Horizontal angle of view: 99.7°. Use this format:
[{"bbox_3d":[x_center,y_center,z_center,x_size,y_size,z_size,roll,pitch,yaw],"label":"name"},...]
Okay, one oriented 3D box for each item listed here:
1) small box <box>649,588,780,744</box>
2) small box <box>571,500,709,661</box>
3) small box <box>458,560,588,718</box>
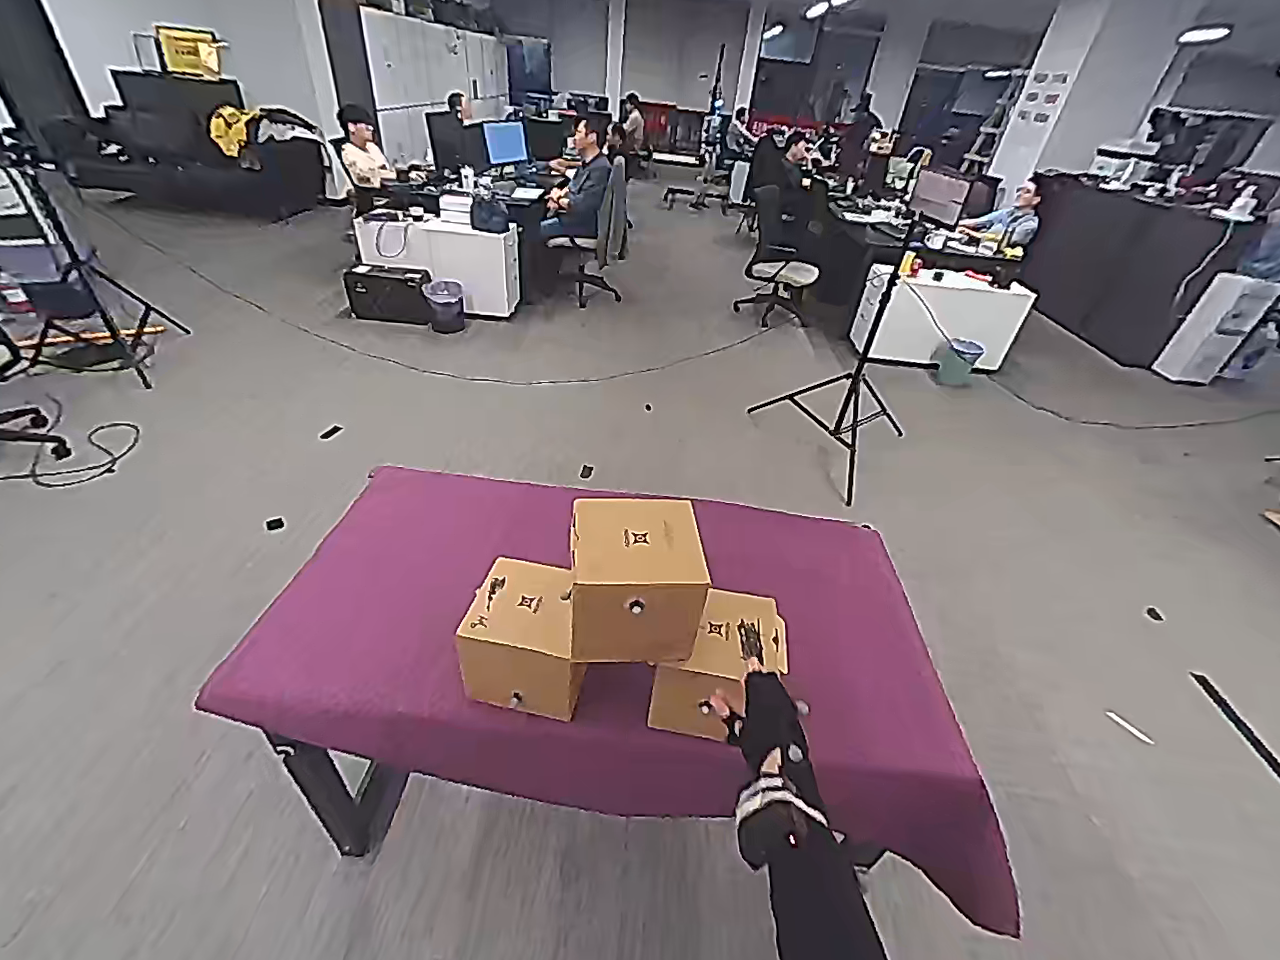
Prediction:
[{"bbox_3d":[0.117,0.297,0.872,0.179,0.176,0.168,9,35,5],"label":"small box"},{"bbox_3d":[-0.011,0.146,0.785,0.179,0.176,0.168,1,37,-8],"label":"small box"},{"bbox_3d":[-0.173,0.260,0.881,0.179,0.176,0.168,11,35,5],"label":"small box"}]
